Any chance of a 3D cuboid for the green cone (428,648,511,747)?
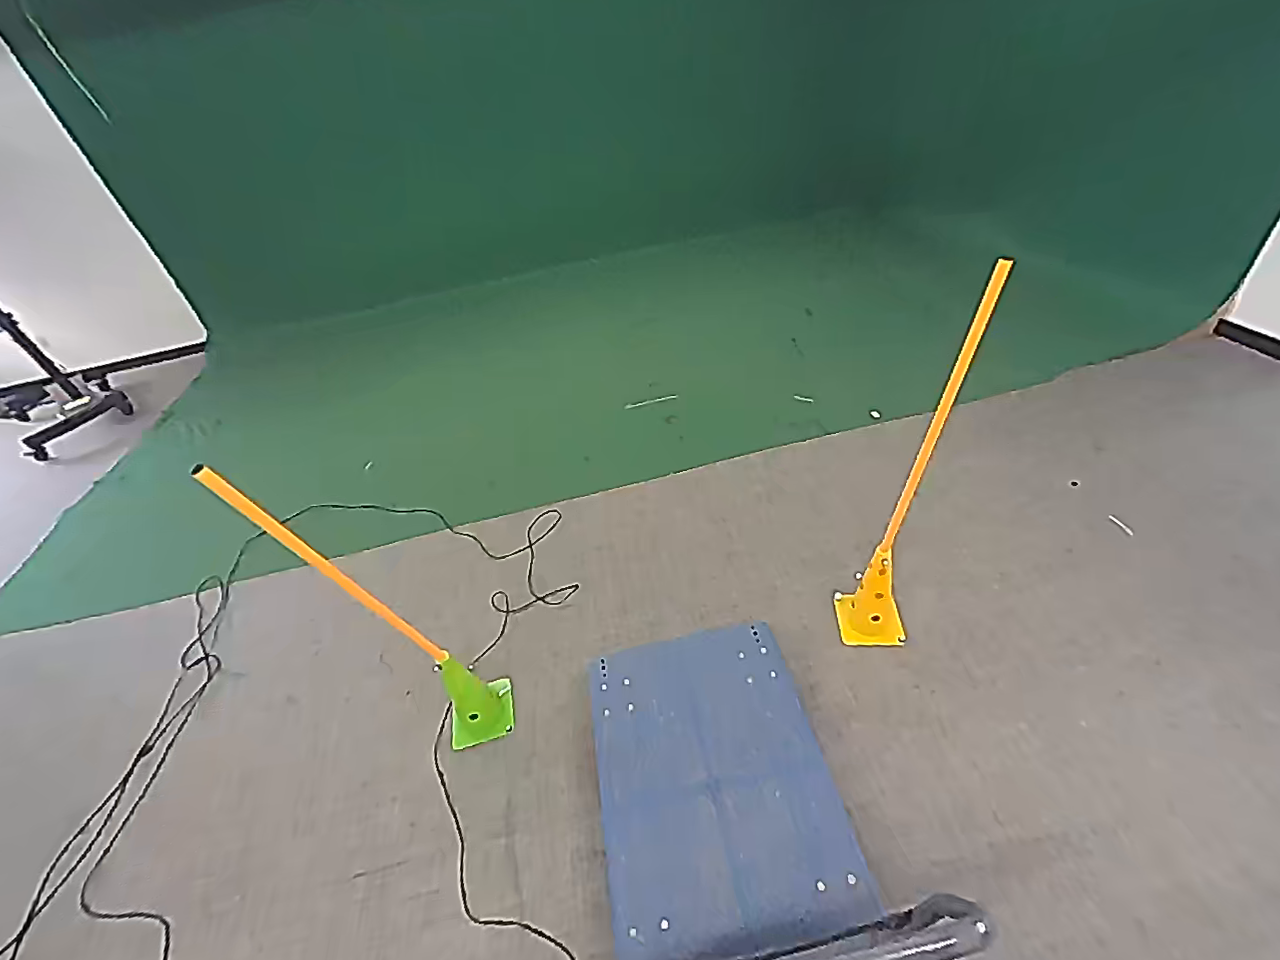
[{"bbox_3d":[-0.555,0.627,1.665,0.202,0.368,0.200,-17,41,-5],"label":"green cone"}]
